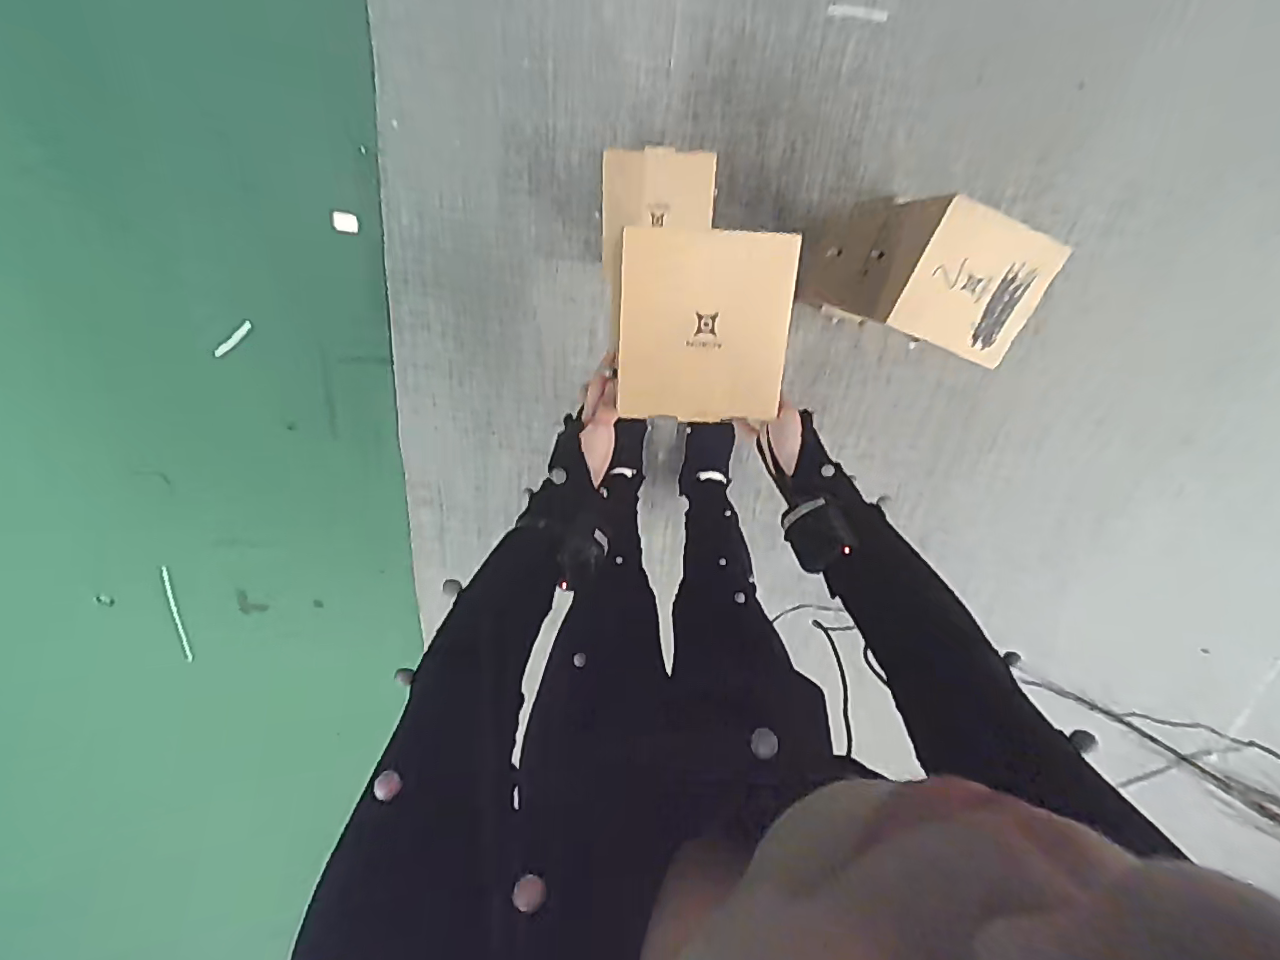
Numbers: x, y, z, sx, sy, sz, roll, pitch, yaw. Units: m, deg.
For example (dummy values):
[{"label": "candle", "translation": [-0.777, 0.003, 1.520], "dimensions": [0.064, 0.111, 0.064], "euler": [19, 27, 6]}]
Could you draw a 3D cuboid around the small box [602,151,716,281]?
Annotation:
[{"label": "small box", "translation": [0.024, -0.413, 0.873], "dimensions": [0.168, 0.176, 0.179], "euler": [1, 113, -1]}]

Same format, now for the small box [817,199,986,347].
[{"label": "small box", "translation": [0.420, -0.346, 0.908], "dimensions": [0.168, 0.176, 0.179], "euler": [17, 112, -8]}]

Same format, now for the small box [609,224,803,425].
[{"label": "small box", "translation": [0.053, -0.164, 0.575], "dimensions": [0.168, 0.176, 0.179], "euler": [0, 110, -6]}]

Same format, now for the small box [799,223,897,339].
[{"label": "small box", "translation": [0.434, -0.396, 1.064], "dimensions": [0.168, 0.176, 0.179], "euler": [13, 112, -7]}]
